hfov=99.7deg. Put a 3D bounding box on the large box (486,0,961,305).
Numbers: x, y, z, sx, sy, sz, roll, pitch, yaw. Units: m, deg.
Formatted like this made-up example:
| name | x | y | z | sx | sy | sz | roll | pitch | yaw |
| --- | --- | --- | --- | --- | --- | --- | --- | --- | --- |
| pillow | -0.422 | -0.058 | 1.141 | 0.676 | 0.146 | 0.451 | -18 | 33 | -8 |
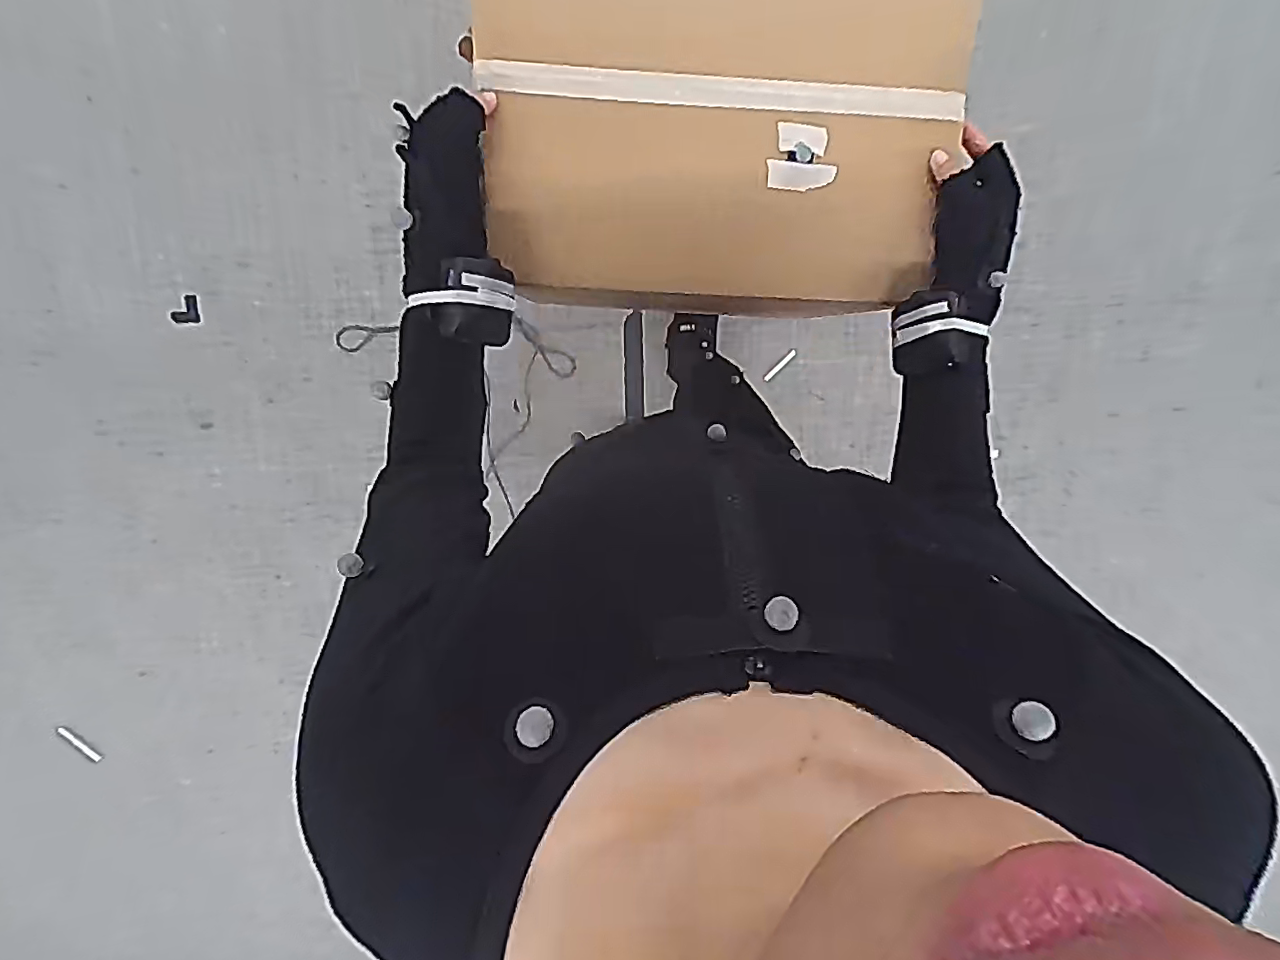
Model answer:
| name | x | y | z | sx | sy | sz | roll | pitch | yaw |
| --- | --- | --- | --- | --- | --- | --- | --- | --- | --- |
| large box | 0.060 | -0.371 | 0.608 | 0.408 | 0.320 | 0.320 | 1 | 105 | -4 |
